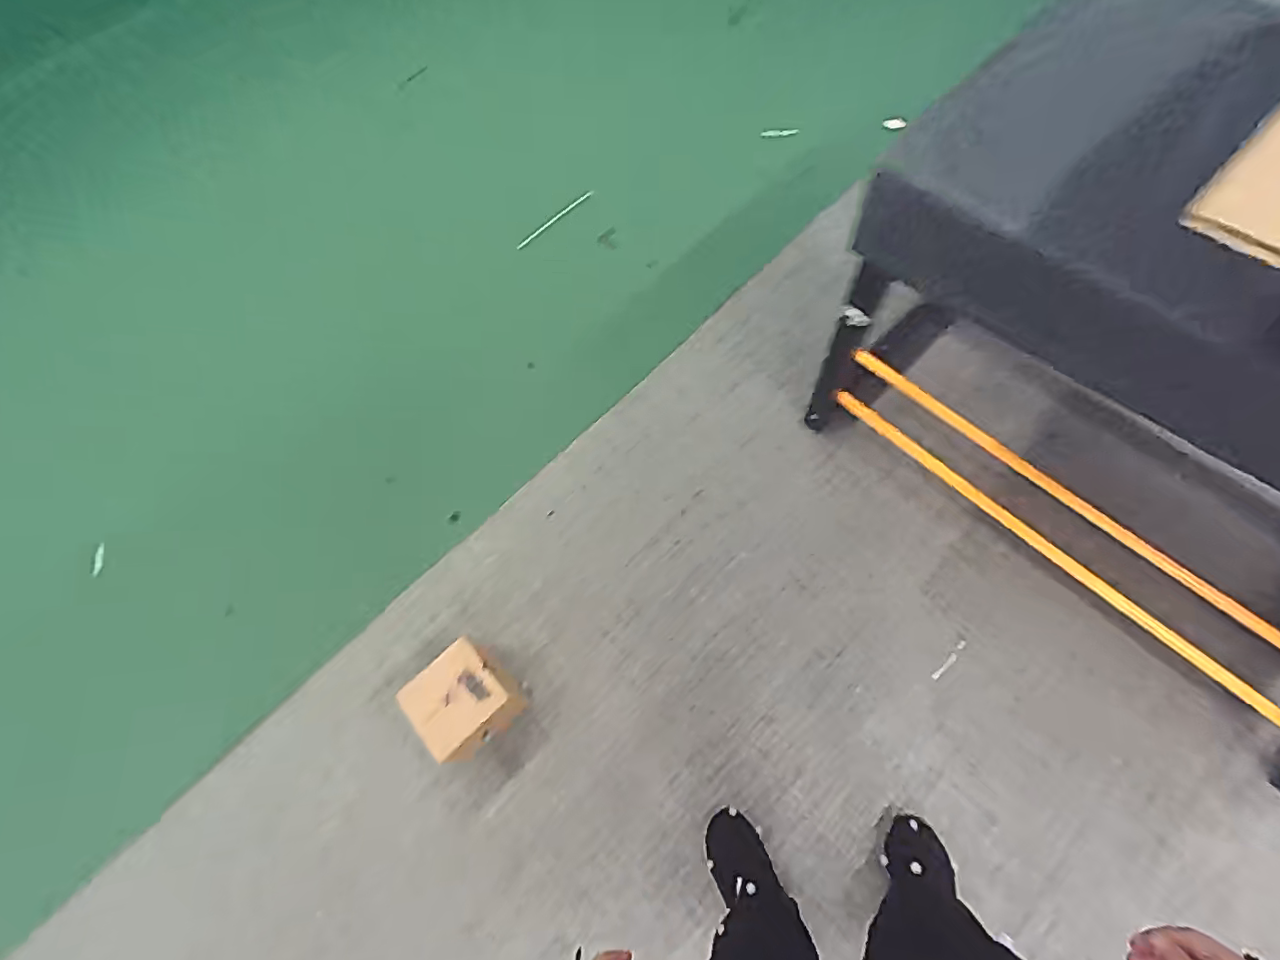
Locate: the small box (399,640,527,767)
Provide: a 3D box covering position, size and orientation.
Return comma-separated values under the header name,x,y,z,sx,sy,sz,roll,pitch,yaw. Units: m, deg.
name,x,y,z,sx,sy,sz,roll,pitch,yaw
small box,-0.358,0.466,1.139,0.179,0.176,0.168,-42,68,-11
